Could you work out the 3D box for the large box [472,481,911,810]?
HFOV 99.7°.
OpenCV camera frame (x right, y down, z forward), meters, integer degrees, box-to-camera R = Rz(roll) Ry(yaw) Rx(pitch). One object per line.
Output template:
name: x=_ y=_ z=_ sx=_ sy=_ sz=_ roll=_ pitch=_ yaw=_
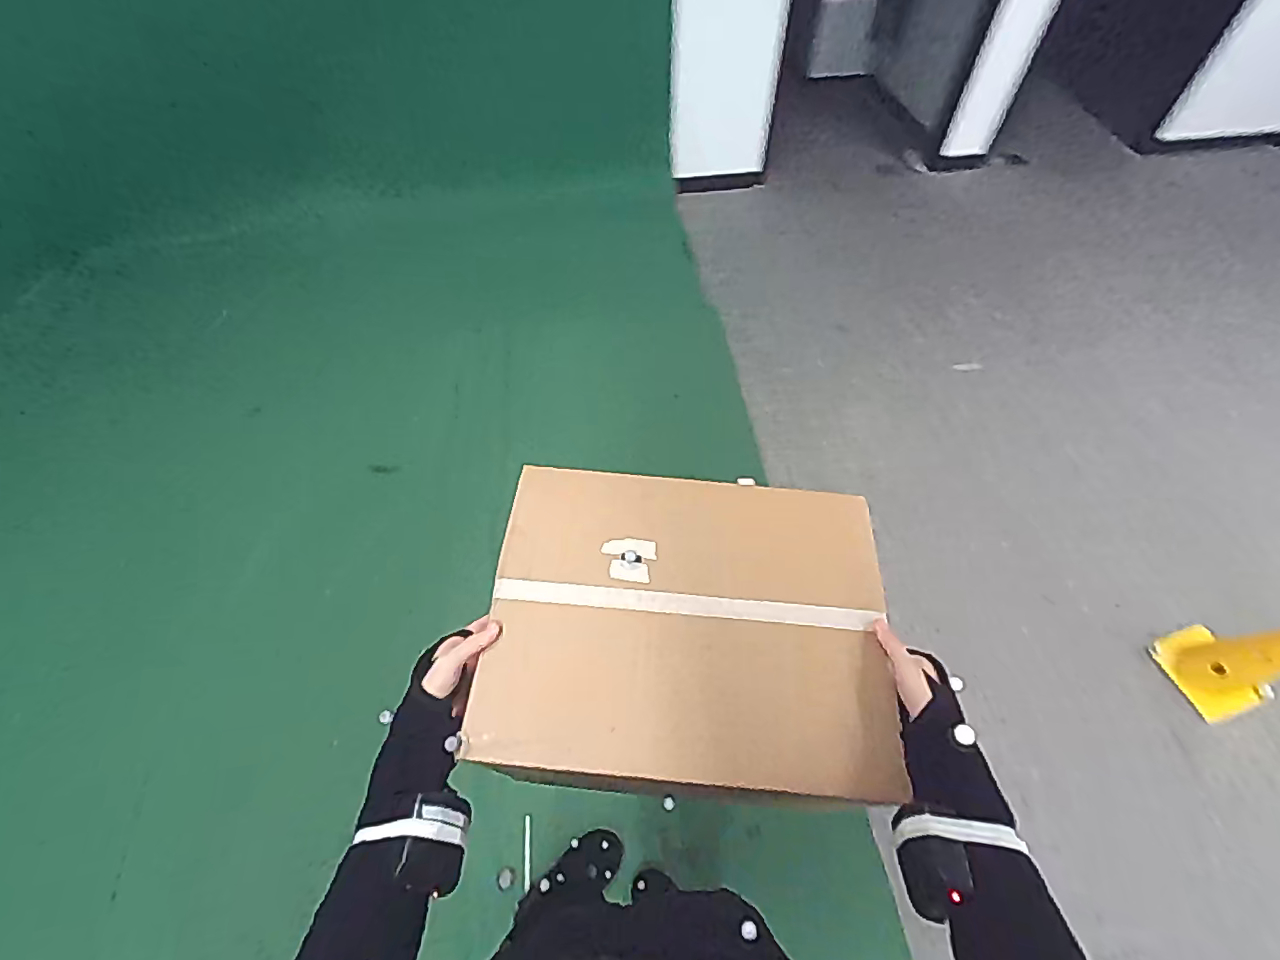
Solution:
large box: x=0.057 y=0.223 z=0.688 sx=0.408 sy=0.320 sz=0.320 roll=5 pitch=56 yaw=3
